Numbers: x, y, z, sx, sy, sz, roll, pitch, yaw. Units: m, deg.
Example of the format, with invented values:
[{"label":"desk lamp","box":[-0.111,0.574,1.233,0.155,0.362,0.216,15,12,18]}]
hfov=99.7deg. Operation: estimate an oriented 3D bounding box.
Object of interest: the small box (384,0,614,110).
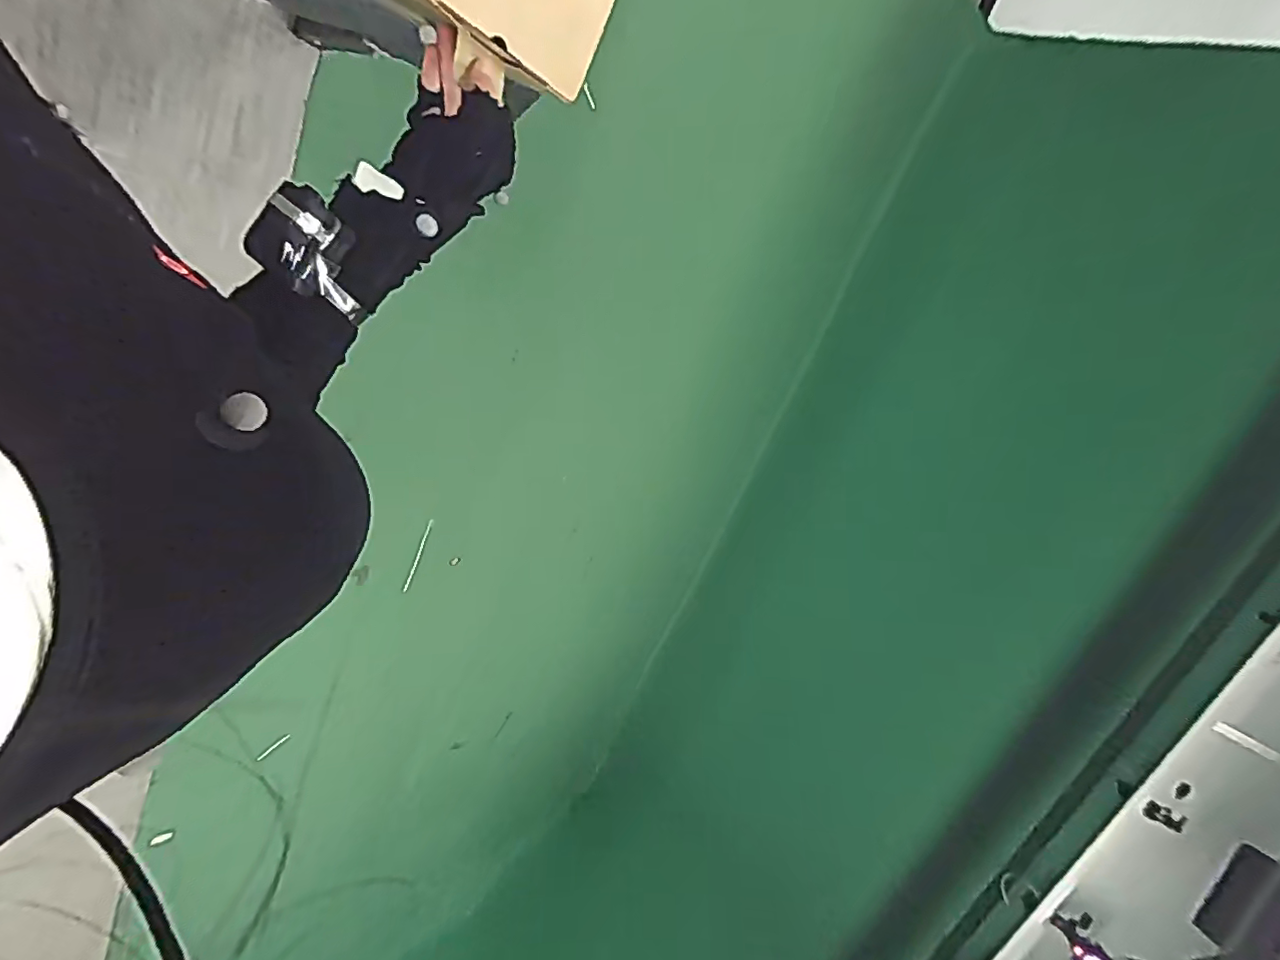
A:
[{"label":"small box","box":[-0.123,-0.430,0.401,0.168,0.176,0.179,-8,134,-56]}]
